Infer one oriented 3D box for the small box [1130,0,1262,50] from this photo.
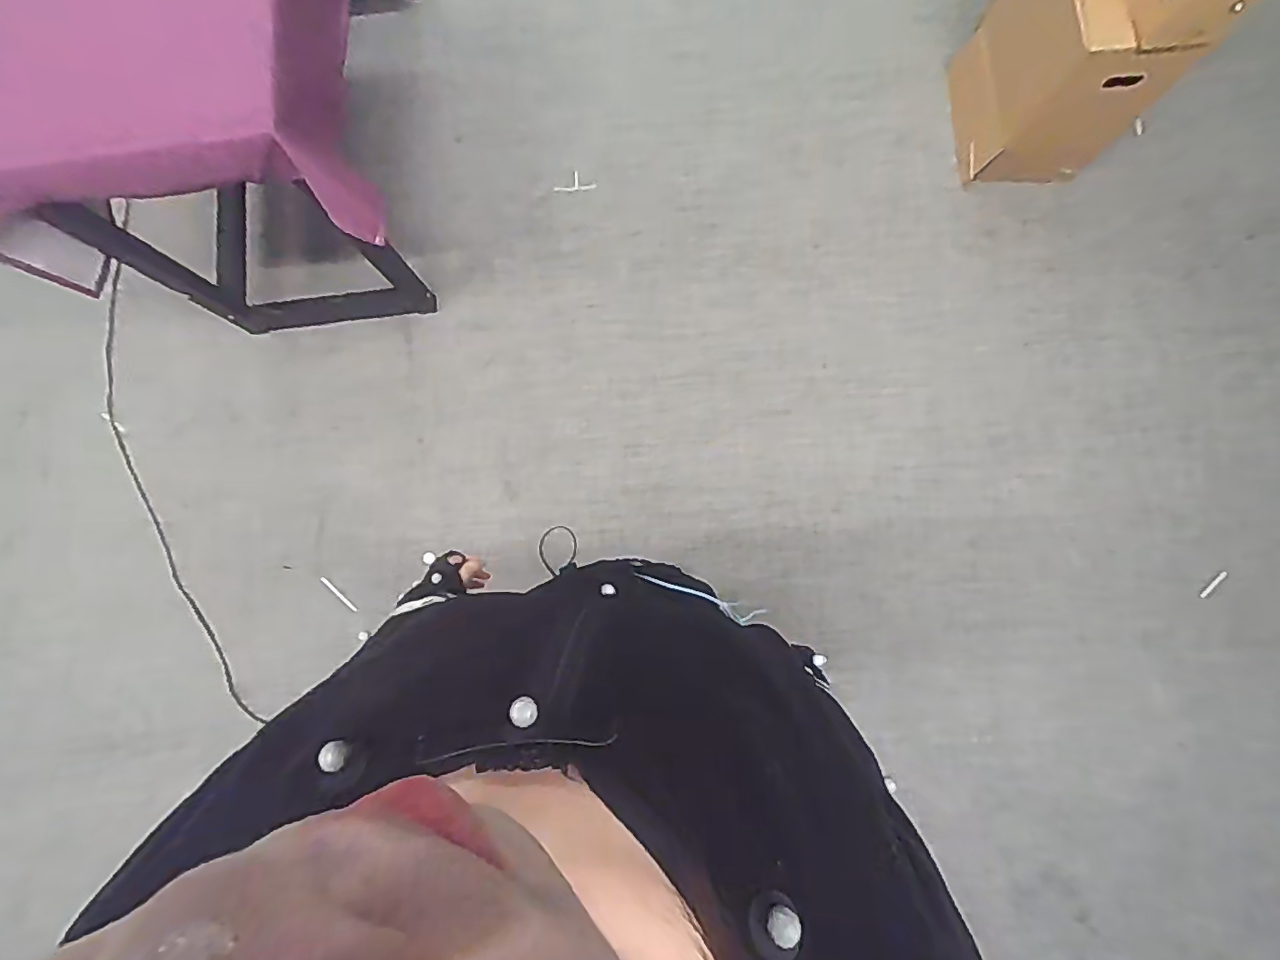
[{"bbox_3d":[1.182,-1.040,1.127,0.168,0.176,0.179,-4,81,-1],"label":"small box"}]
